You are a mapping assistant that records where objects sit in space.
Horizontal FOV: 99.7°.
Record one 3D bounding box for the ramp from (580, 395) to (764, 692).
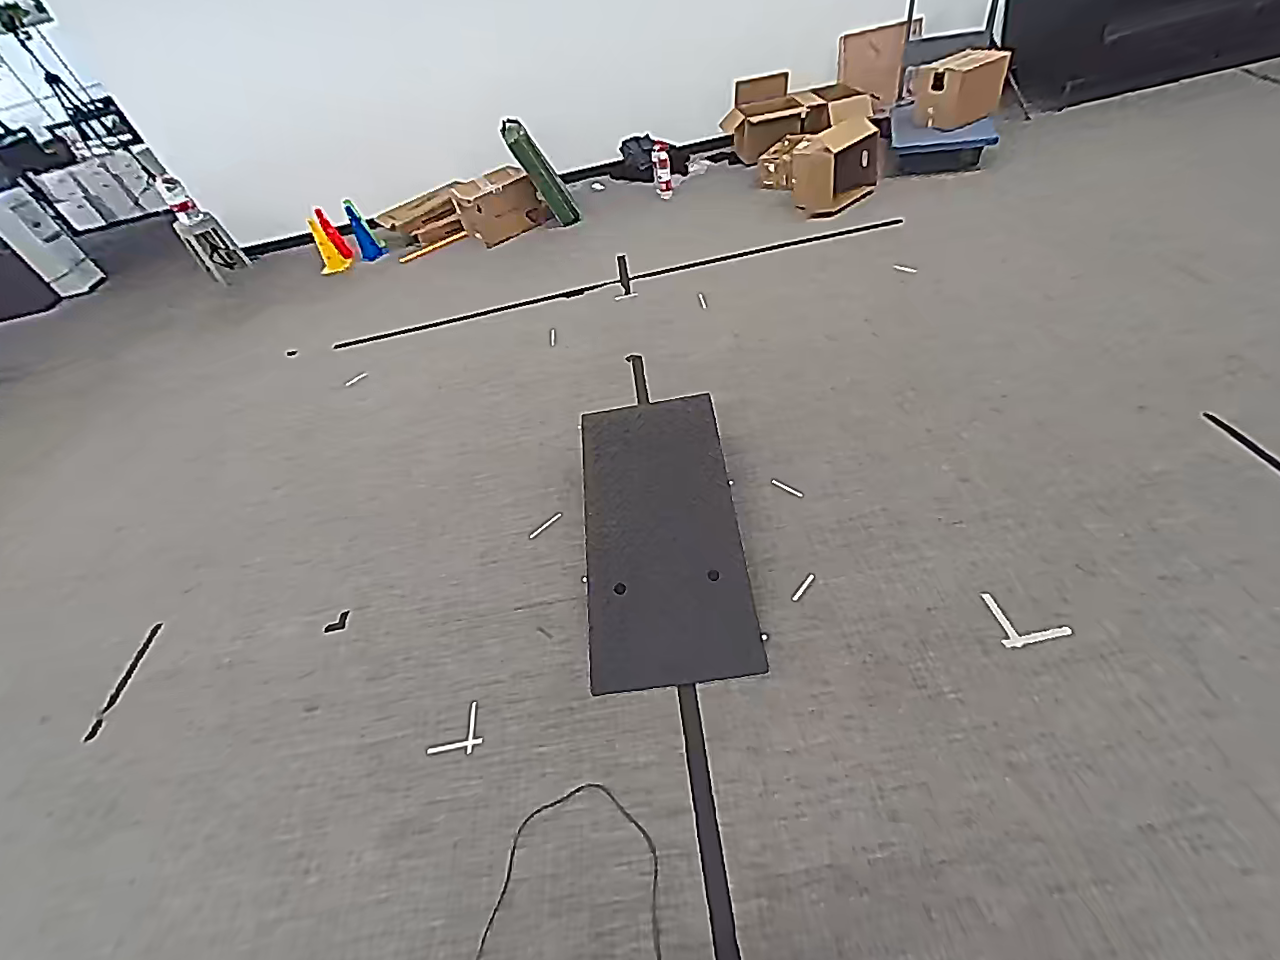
[{"bbox_3d":[0.058,0.138,1.749,0.509,0.206,0.991,-10,46,3],"label":"ramp"}]
